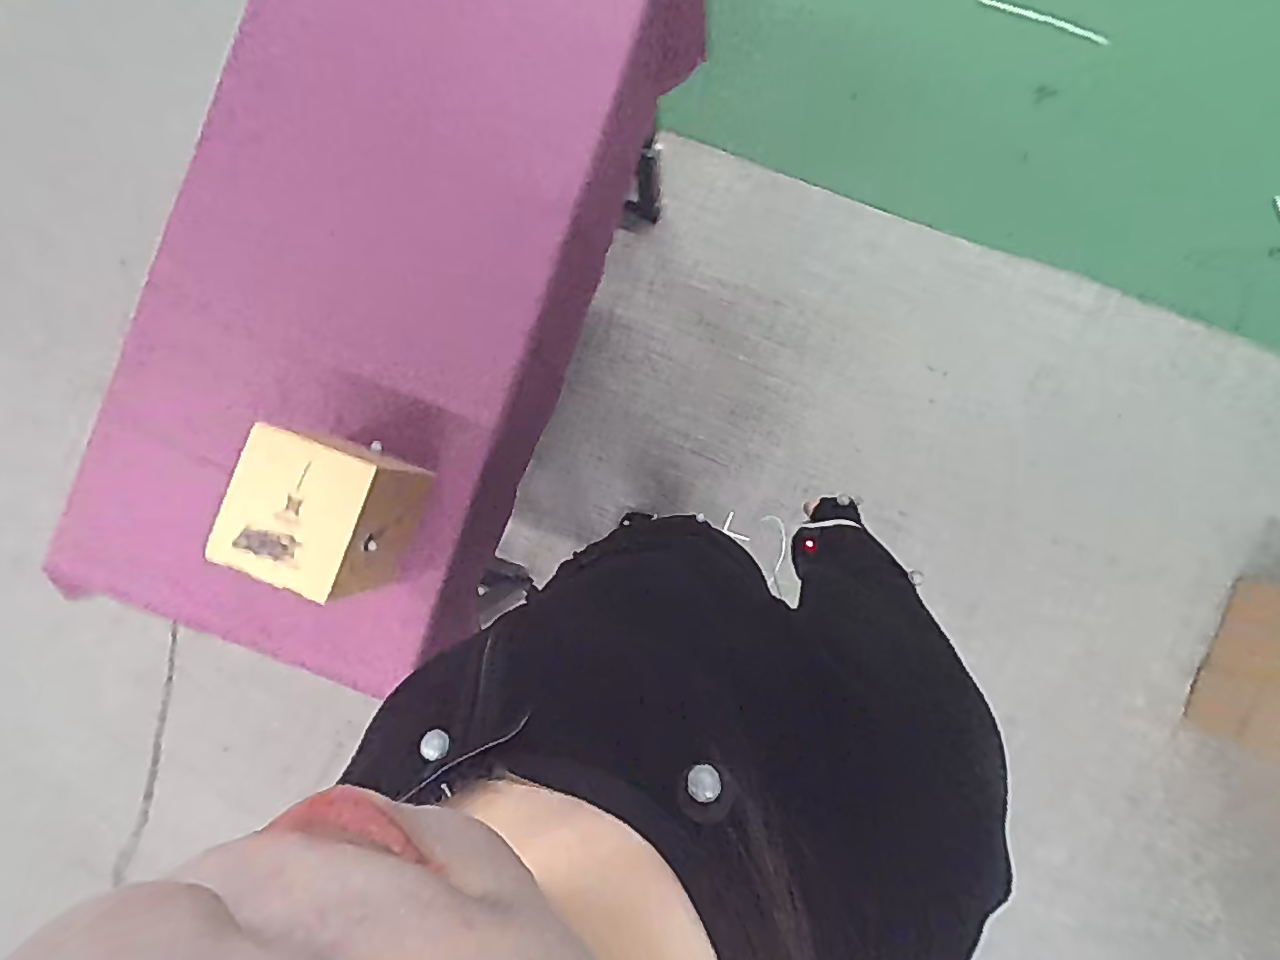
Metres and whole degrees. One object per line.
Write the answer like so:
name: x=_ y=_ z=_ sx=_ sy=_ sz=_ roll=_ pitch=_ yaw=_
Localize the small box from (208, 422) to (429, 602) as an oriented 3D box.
small box: x=-0.413 y=0.041 z=0.727 sx=0.168 sy=0.176 sz=0.179 roll=20 pitch=89 yaw=4
